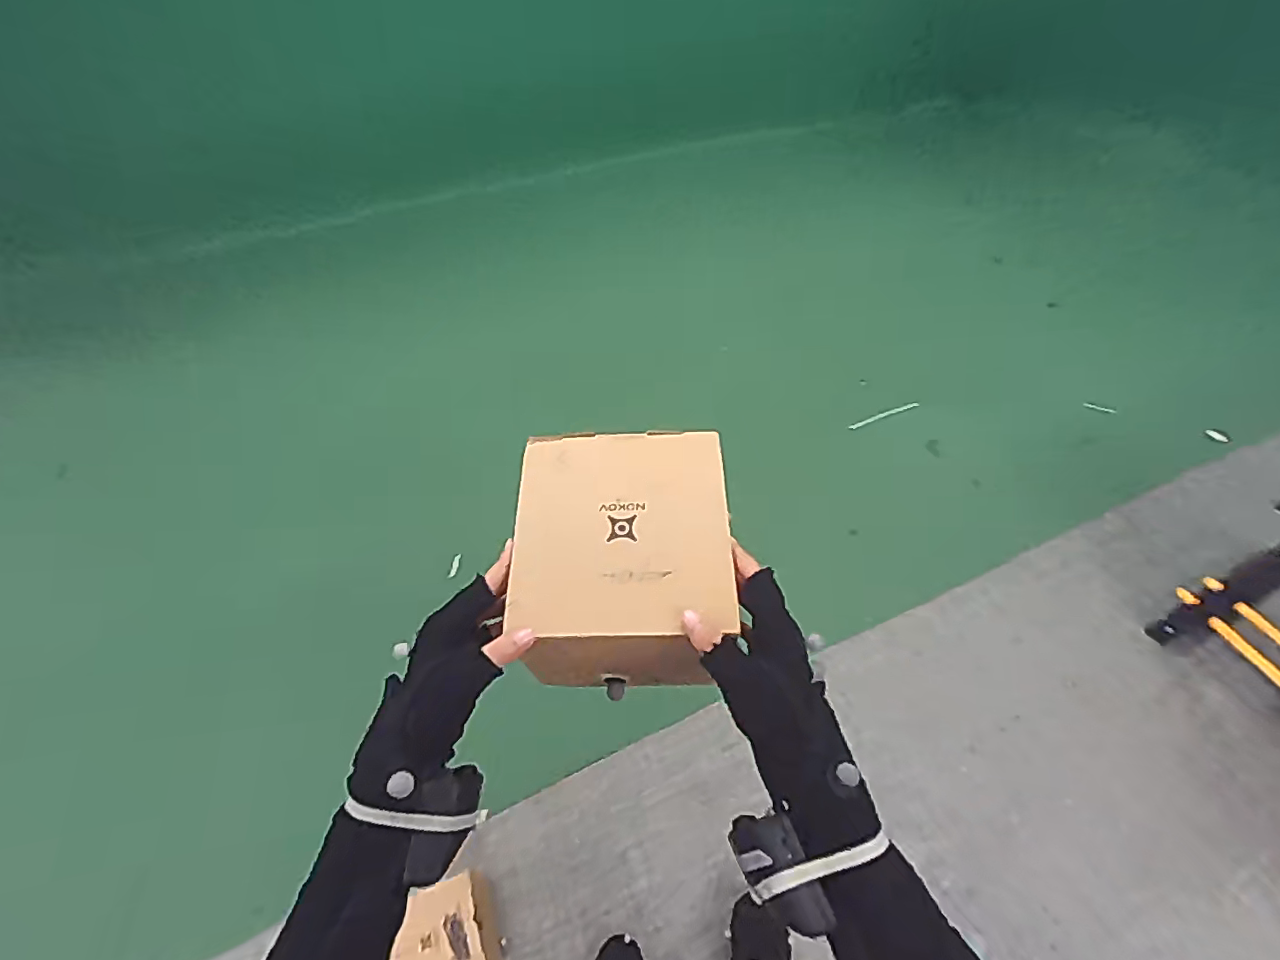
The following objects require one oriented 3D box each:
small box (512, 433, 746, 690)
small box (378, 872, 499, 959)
[{"bbox_3d":[-0.005,0.077,0.483,0.168,0.176,0.179,0,57,2],"label":"small box"},{"bbox_3d":[-0.386,0.902,1.061,0.179,0.176,0.168,-19,54,-13],"label":"small box"}]
